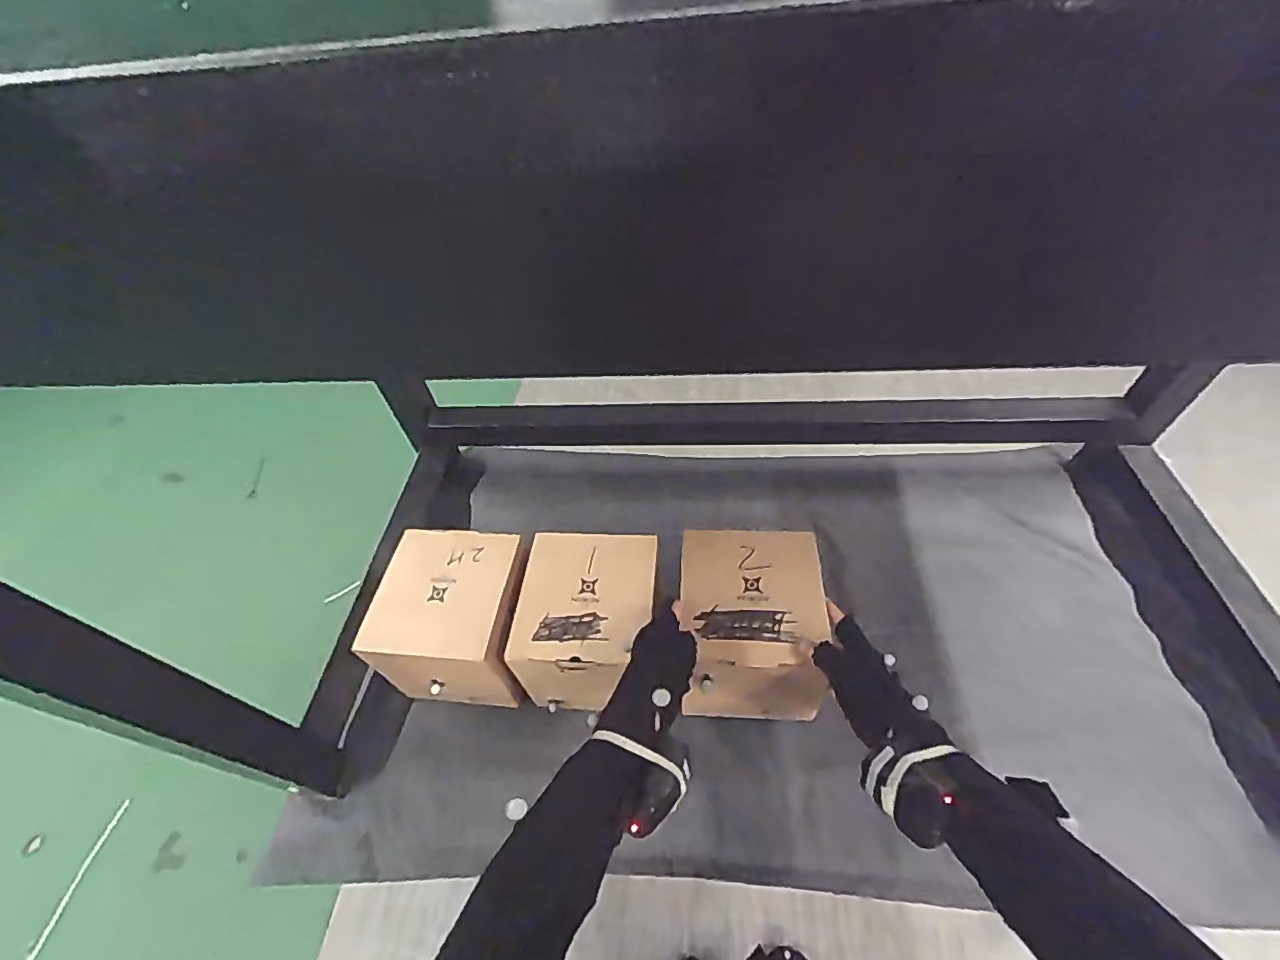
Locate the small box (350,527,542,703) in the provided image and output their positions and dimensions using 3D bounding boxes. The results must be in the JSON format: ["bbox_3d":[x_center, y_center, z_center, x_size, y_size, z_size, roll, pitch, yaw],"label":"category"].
[{"bbox_3d":[-0.241,0.184,0.728,0.168,0.176,0.179,3,50,7],"label":"small box"}]
